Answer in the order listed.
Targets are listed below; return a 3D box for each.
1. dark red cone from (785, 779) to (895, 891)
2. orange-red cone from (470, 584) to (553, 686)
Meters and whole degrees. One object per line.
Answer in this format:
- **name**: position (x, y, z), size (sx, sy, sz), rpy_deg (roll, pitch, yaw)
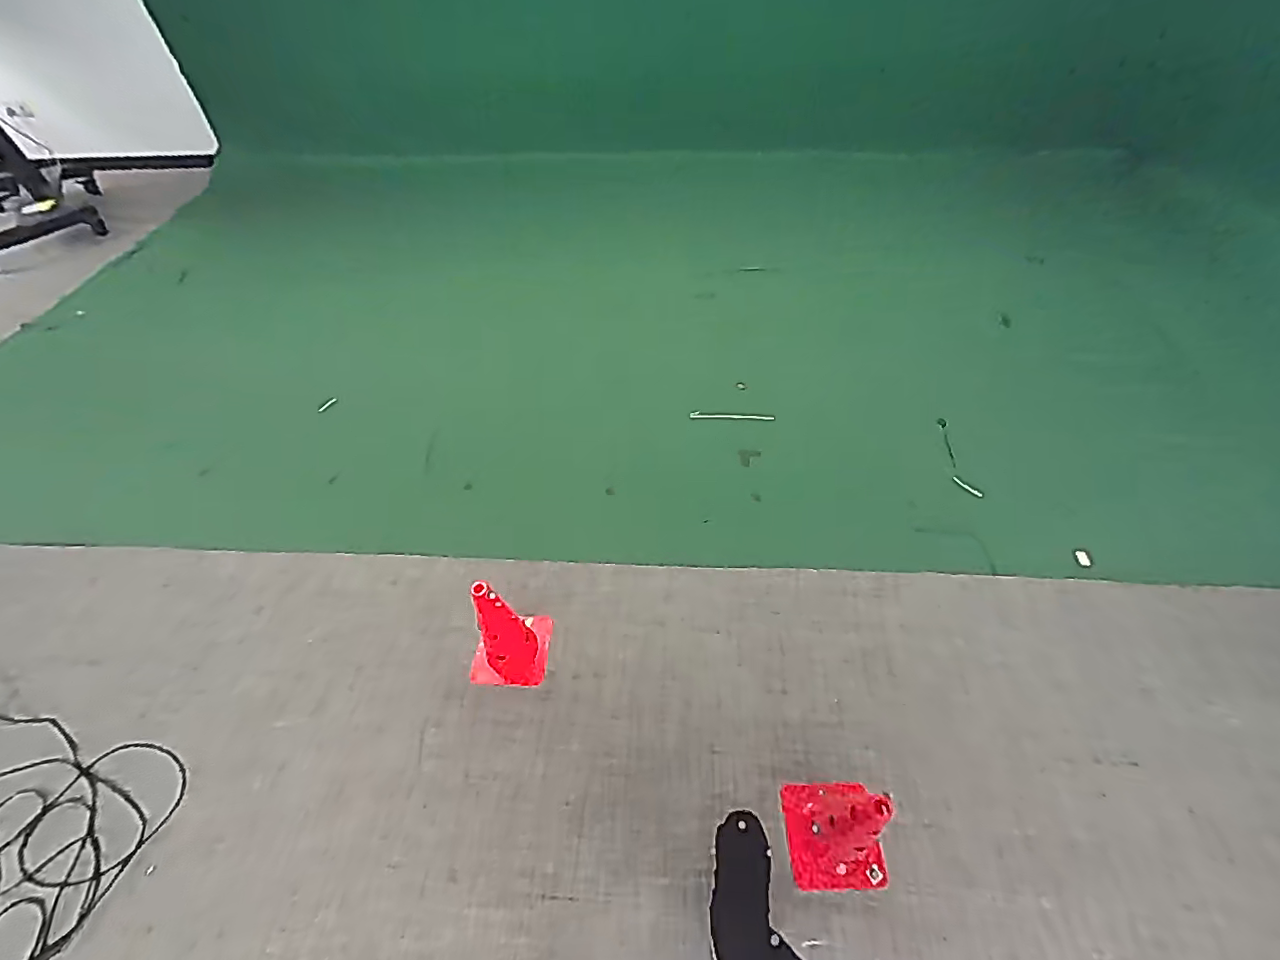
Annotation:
- **dark red cone**: position (0.423, 0.663, 1.056), size (0.202, 0.394, 0.201), rpy_deg (-3, 49, 0)
- **orange-red cone**: position (-0.358, 0.366, 1.371), size (0.198, 0.360, 0.199), rpy_deg (1, 52, 5)
